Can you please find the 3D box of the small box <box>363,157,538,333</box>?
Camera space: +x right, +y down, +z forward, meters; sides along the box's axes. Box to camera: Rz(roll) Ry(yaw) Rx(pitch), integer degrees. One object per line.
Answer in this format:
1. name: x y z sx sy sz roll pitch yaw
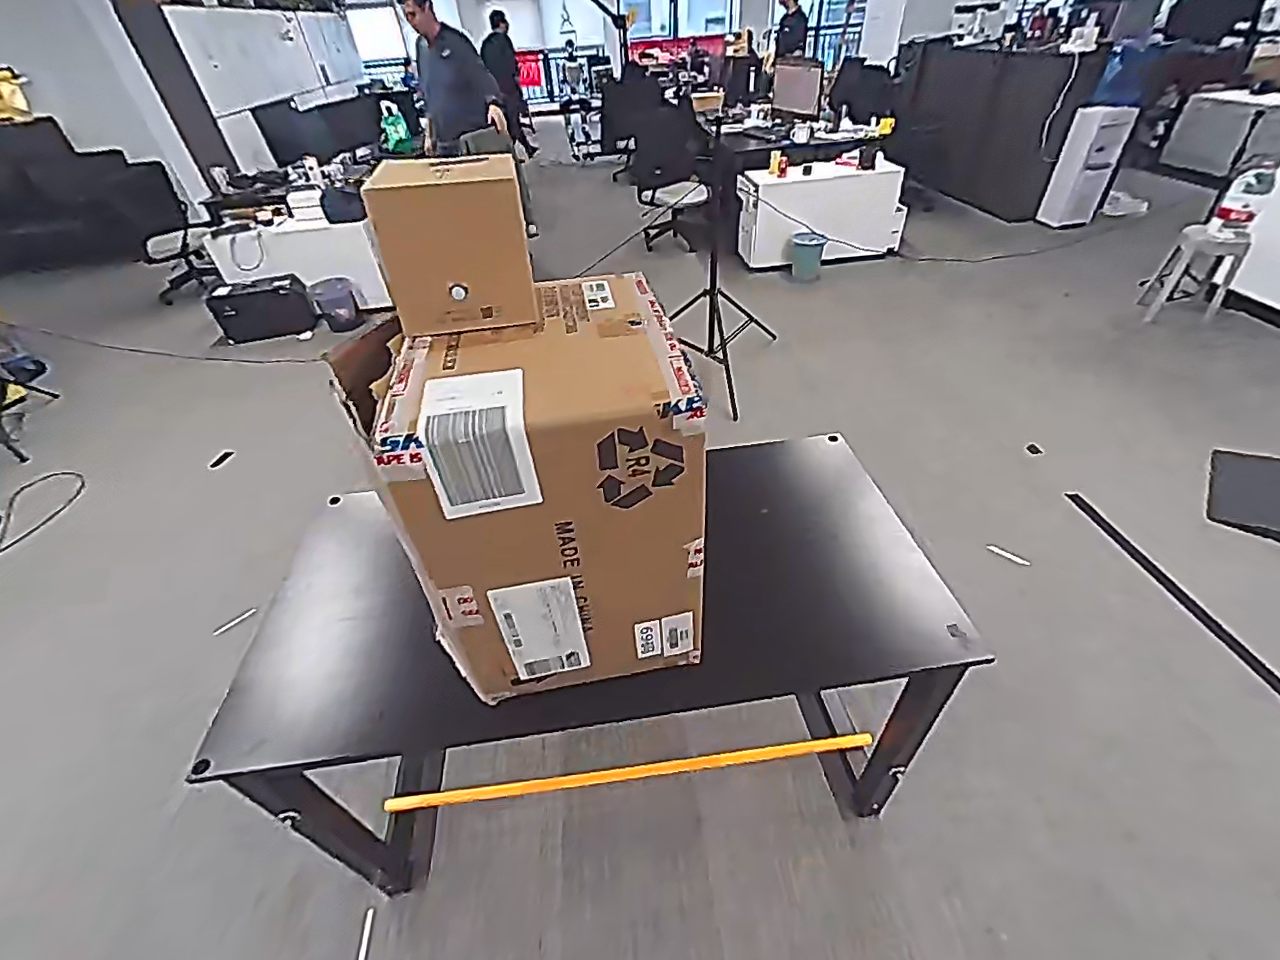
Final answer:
1. small box: -0.228 -0.304 0.694 0.168 0.176 0.179 -9 39 -8
